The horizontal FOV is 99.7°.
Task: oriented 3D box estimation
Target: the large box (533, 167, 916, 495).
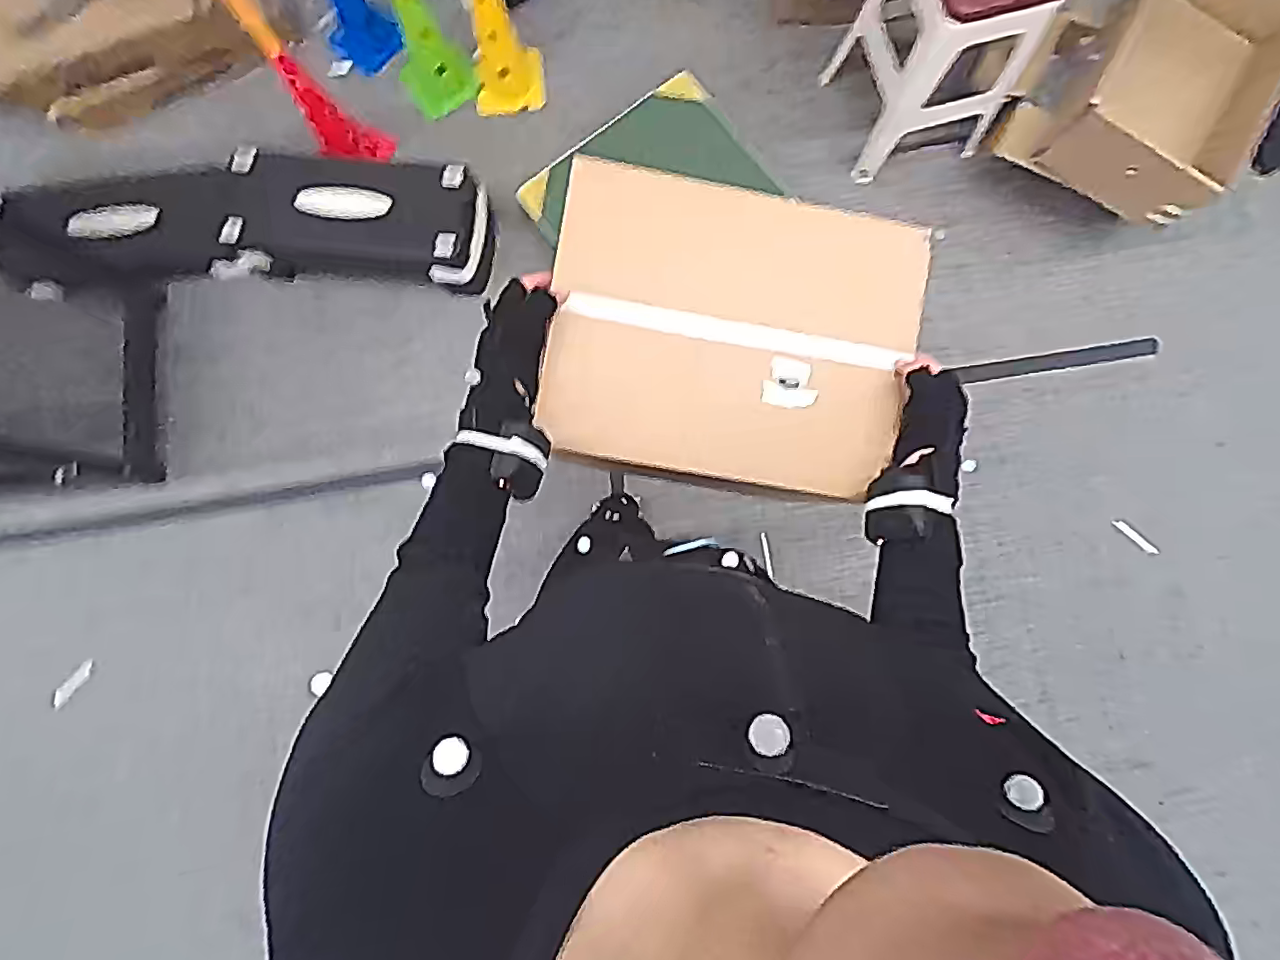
[{"bbox_3d":[0.088,-0.162,0.753,0.408,0.320,0.320,11,89,-5],"label":"large box"}]
